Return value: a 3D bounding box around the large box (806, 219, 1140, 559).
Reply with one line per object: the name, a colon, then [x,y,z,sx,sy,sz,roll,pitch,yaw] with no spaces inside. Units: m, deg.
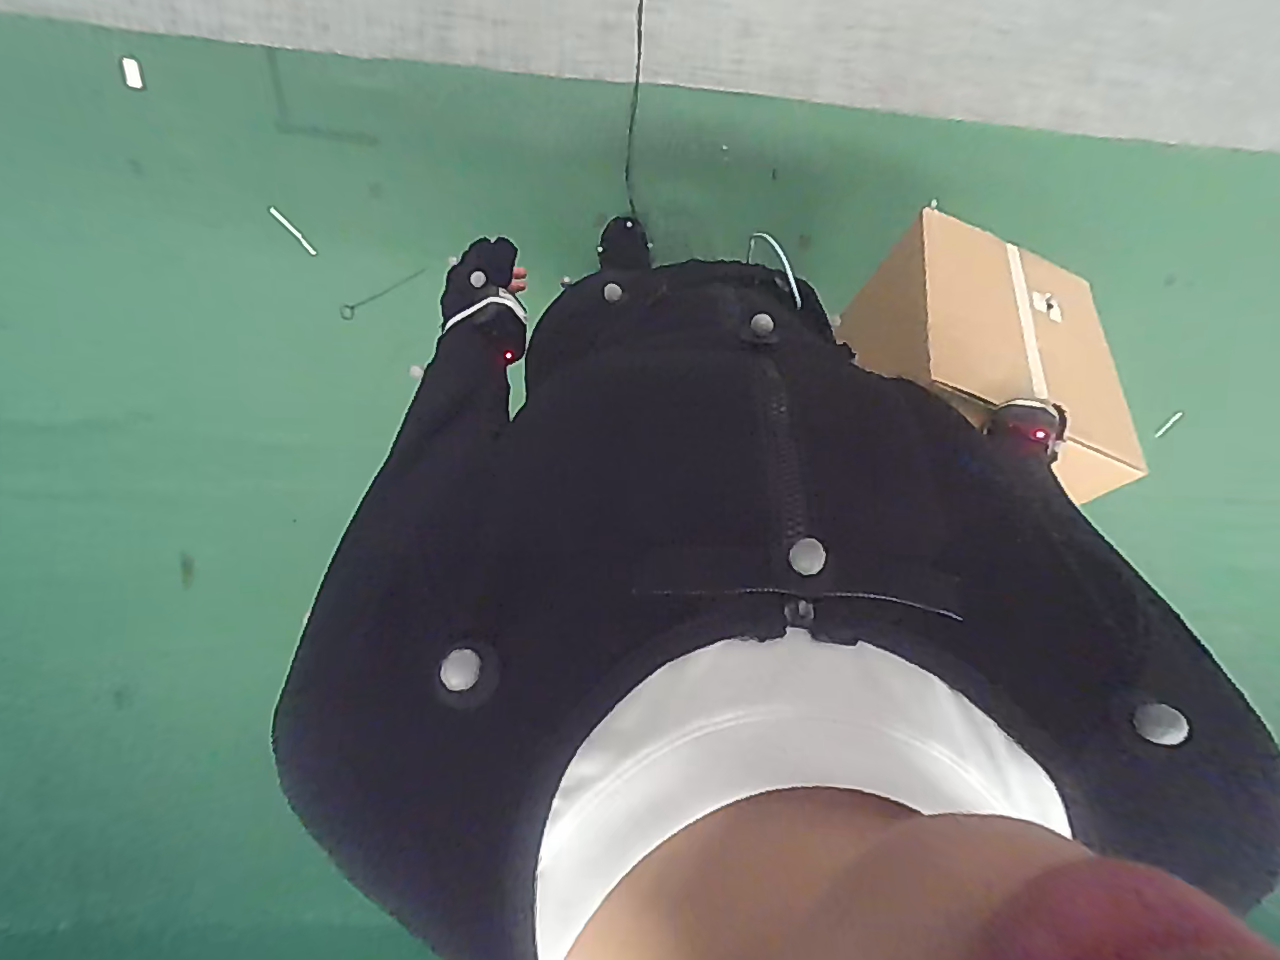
large box: [0.502,-0.140,0.902,0.320,0.408,0.320,22,146,-6]
